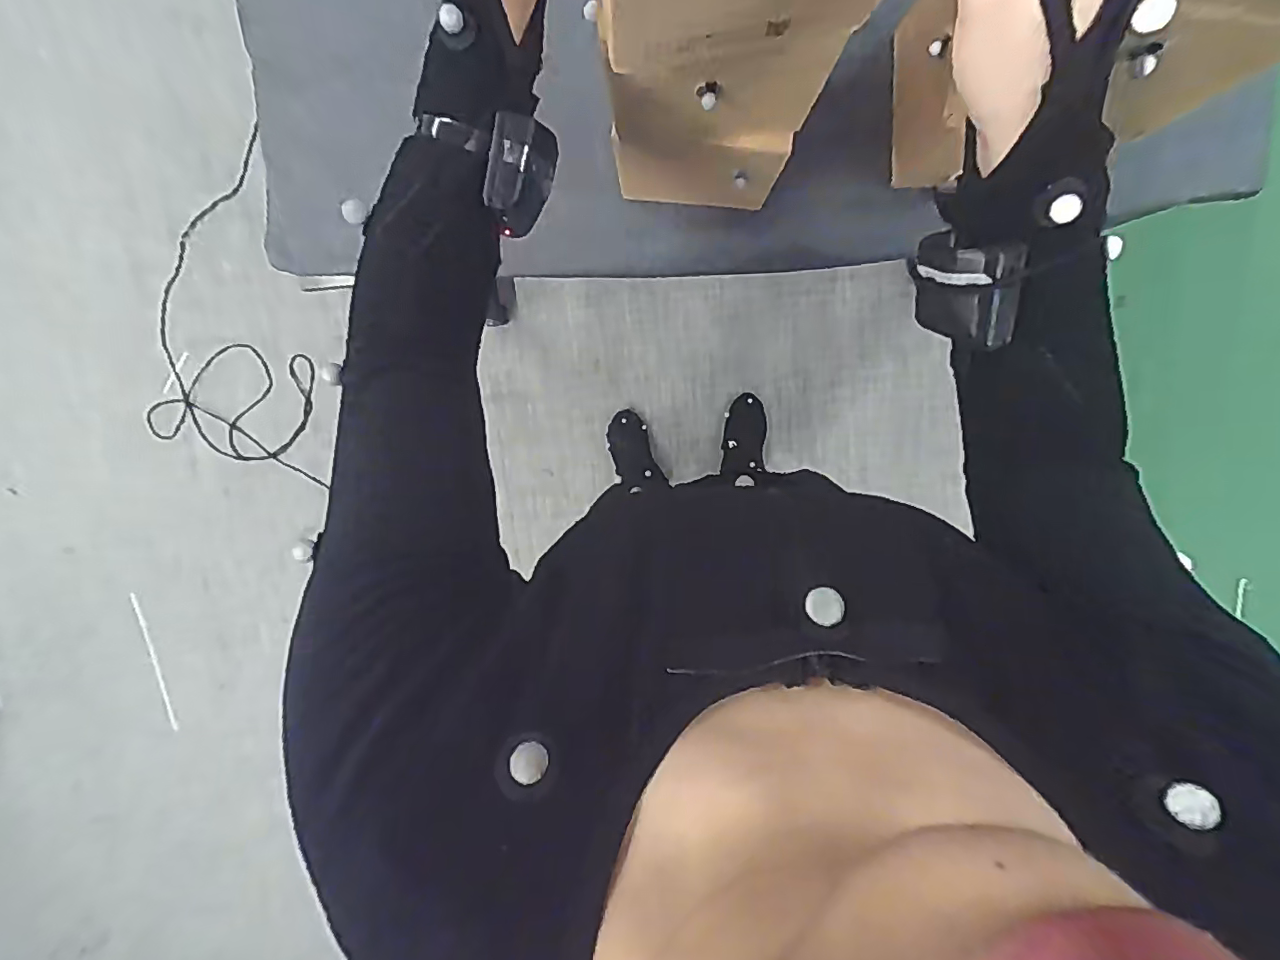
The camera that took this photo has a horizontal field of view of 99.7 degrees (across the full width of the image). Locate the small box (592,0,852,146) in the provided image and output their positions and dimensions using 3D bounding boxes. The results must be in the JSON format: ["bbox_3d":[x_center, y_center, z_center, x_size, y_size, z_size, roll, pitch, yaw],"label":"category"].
[{"bbox_3d":[0.054,-0.388,0.421,0.179,0.176,0.168,-3,100,4],"label":"small box"}]

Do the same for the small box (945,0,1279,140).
[{"bbox_3d":[0.374,-0.385,0.409,0.179,0.176,0.168,8,100,3],"label":"small box"}]

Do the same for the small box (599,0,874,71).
[{"bbox_3d":[0.050,-0.346,0.258,0.168,0.176,0.179,-8,100,0],"label":"small box"}]

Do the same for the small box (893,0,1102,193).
[{"bbox_3d":[0.381,-0.427,0.566,0.168,0.176,0.179,-3,100,4],"label":"small box"}]
